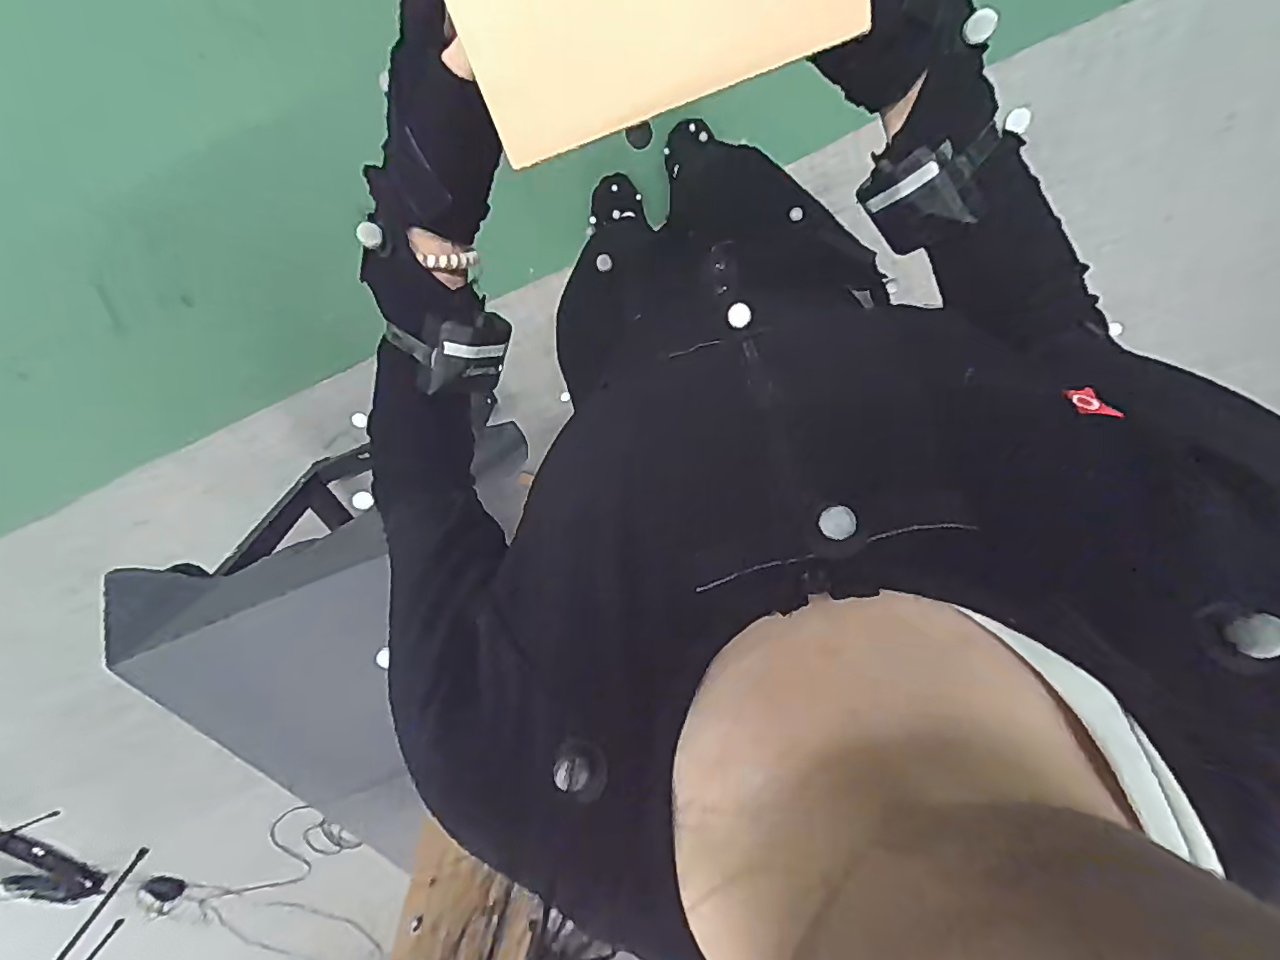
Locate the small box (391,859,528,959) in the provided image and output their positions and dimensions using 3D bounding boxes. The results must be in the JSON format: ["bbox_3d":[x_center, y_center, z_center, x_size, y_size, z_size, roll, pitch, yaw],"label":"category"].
[{"bbox_3d":[-0.320,0.812,0.967,0.168,0.176,0.179,-22,120,10],"label":"small box"}]
